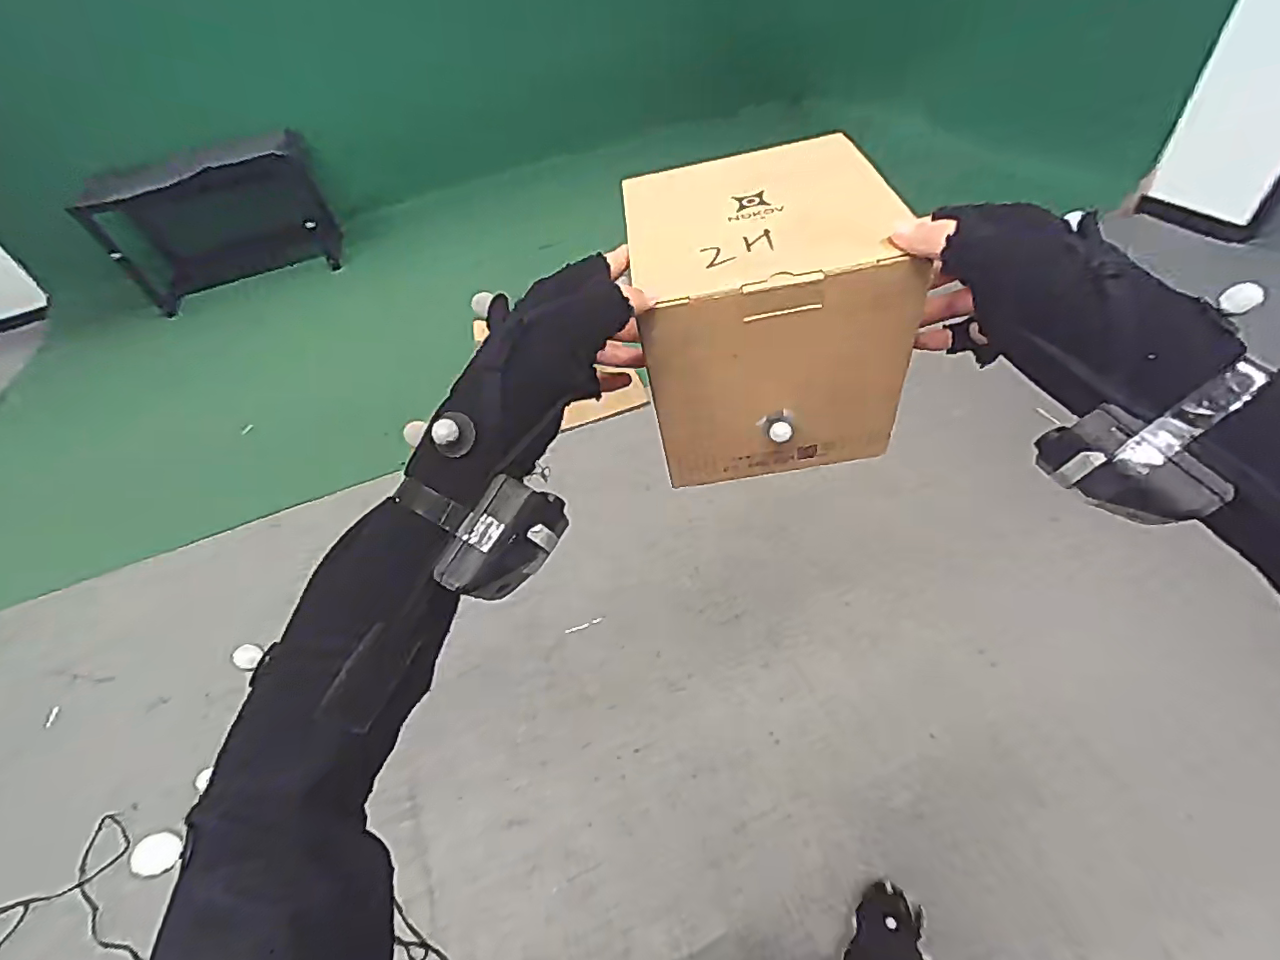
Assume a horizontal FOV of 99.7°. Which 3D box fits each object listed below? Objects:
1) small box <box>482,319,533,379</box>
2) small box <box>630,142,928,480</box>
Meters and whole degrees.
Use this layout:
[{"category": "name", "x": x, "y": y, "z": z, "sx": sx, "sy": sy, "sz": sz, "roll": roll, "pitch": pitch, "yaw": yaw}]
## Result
[{"category": "small box", "x": -0.569, "y": -0.560, "z": 2.320, "sx": 0.168, "sy": 0.176, "sz": 0.179, "roll": -17, "pitch": 46, "yaw": -3}, {"category": "small box", "x": 0.088, "y": -0.125, "z": 0.417, "sx": 0.168, "sy": 0.176, "sz": 0.179, "roll": -9, "pitch": 49, "yaw": 6}]
